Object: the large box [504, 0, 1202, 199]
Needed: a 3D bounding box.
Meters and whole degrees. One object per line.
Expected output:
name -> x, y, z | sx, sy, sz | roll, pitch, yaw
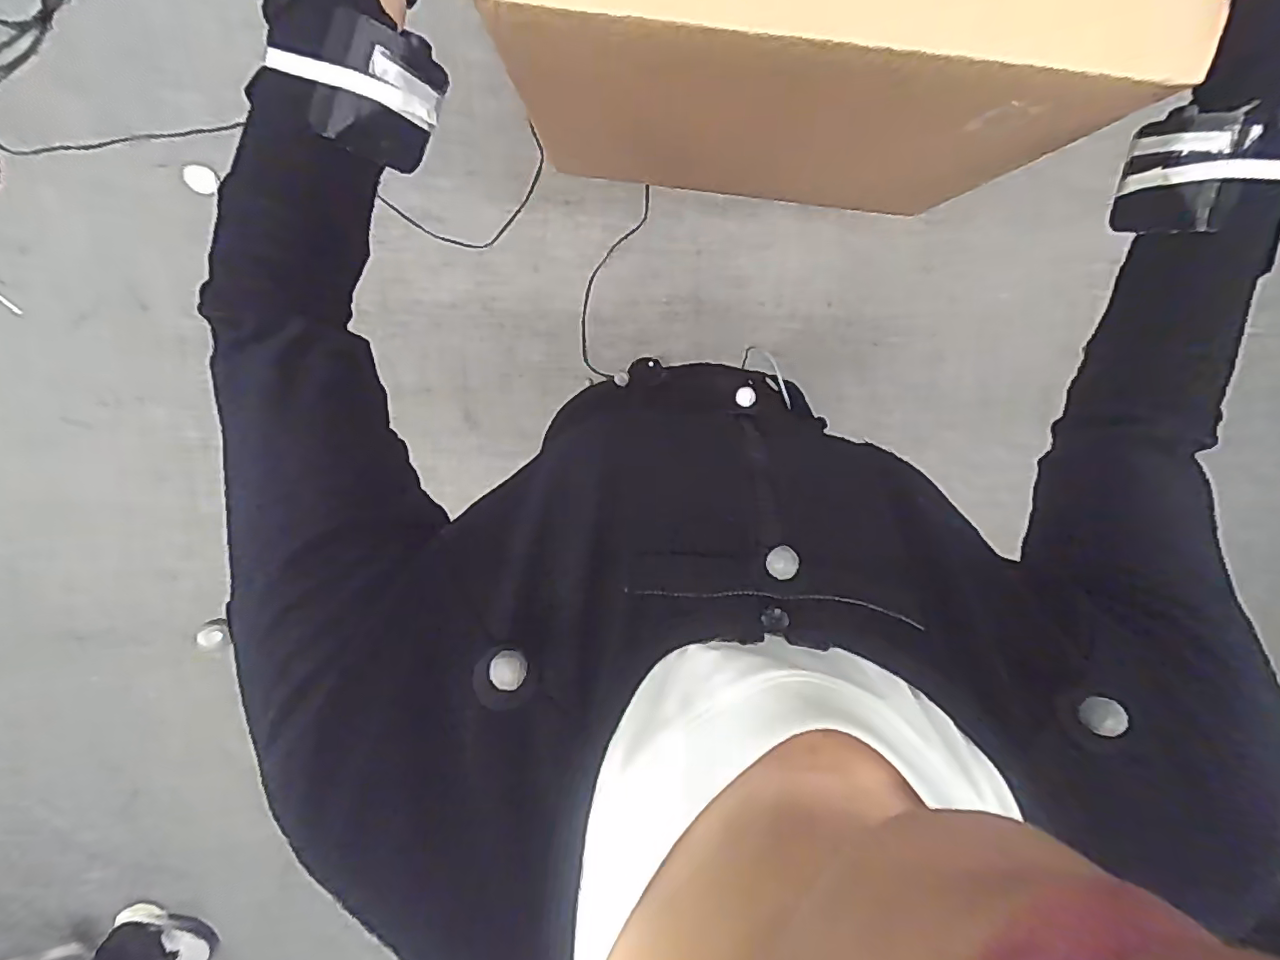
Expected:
large box -> 0.124, -0.435, 0.412 | 0.408, 0.320, 0.320 | 5, 105, -3
